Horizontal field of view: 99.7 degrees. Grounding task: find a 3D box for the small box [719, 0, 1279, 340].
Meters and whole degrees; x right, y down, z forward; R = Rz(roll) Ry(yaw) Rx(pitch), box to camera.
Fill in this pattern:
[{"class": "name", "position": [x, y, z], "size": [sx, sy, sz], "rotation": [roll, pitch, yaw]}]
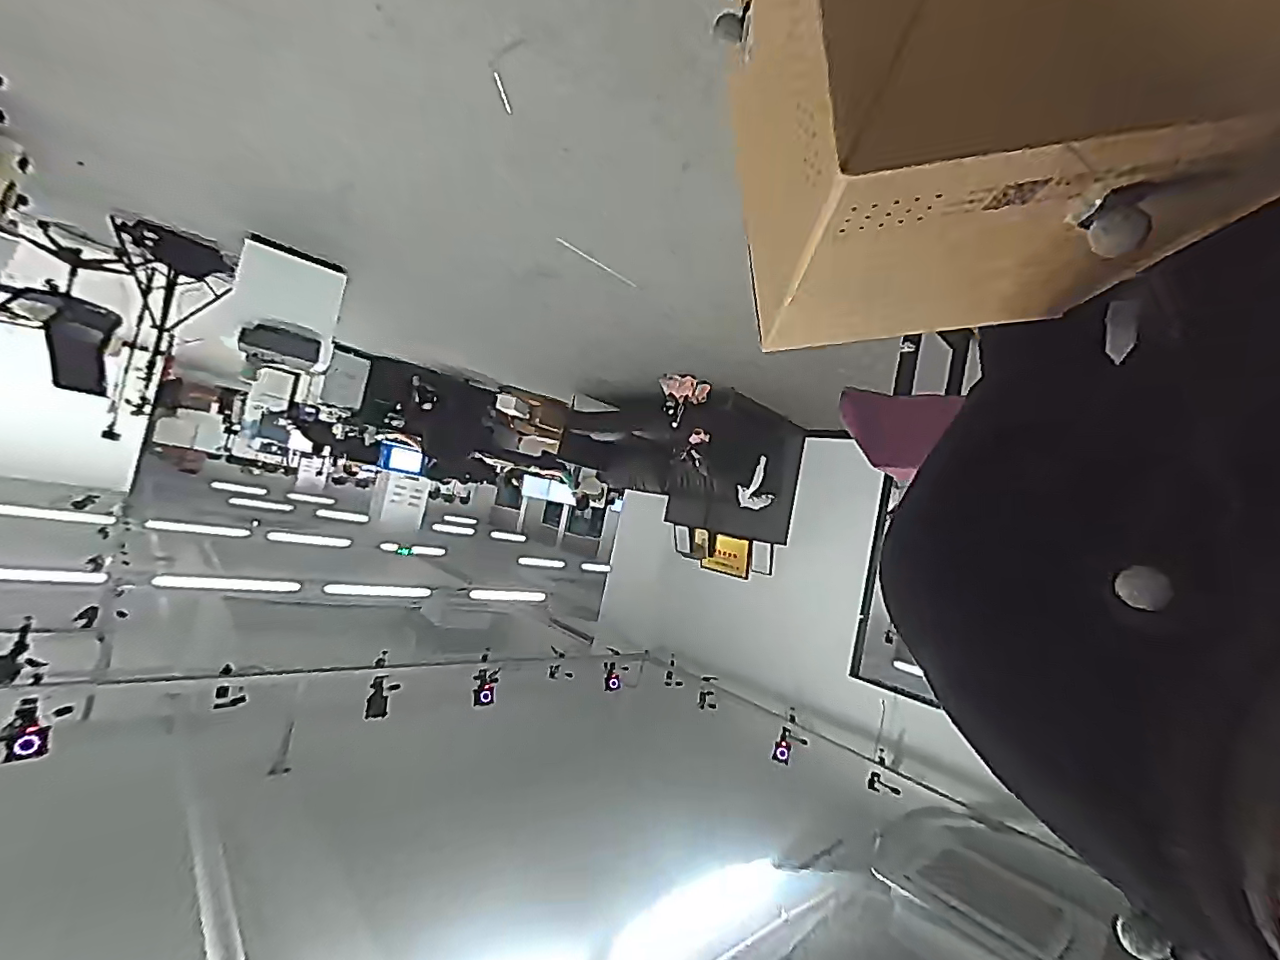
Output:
[{"class": "small box", "position": [0.131, -0.176, 0.223], "size": [0.168, 0.179, 0.176], "rotation": [-6, 177, 3]}]
